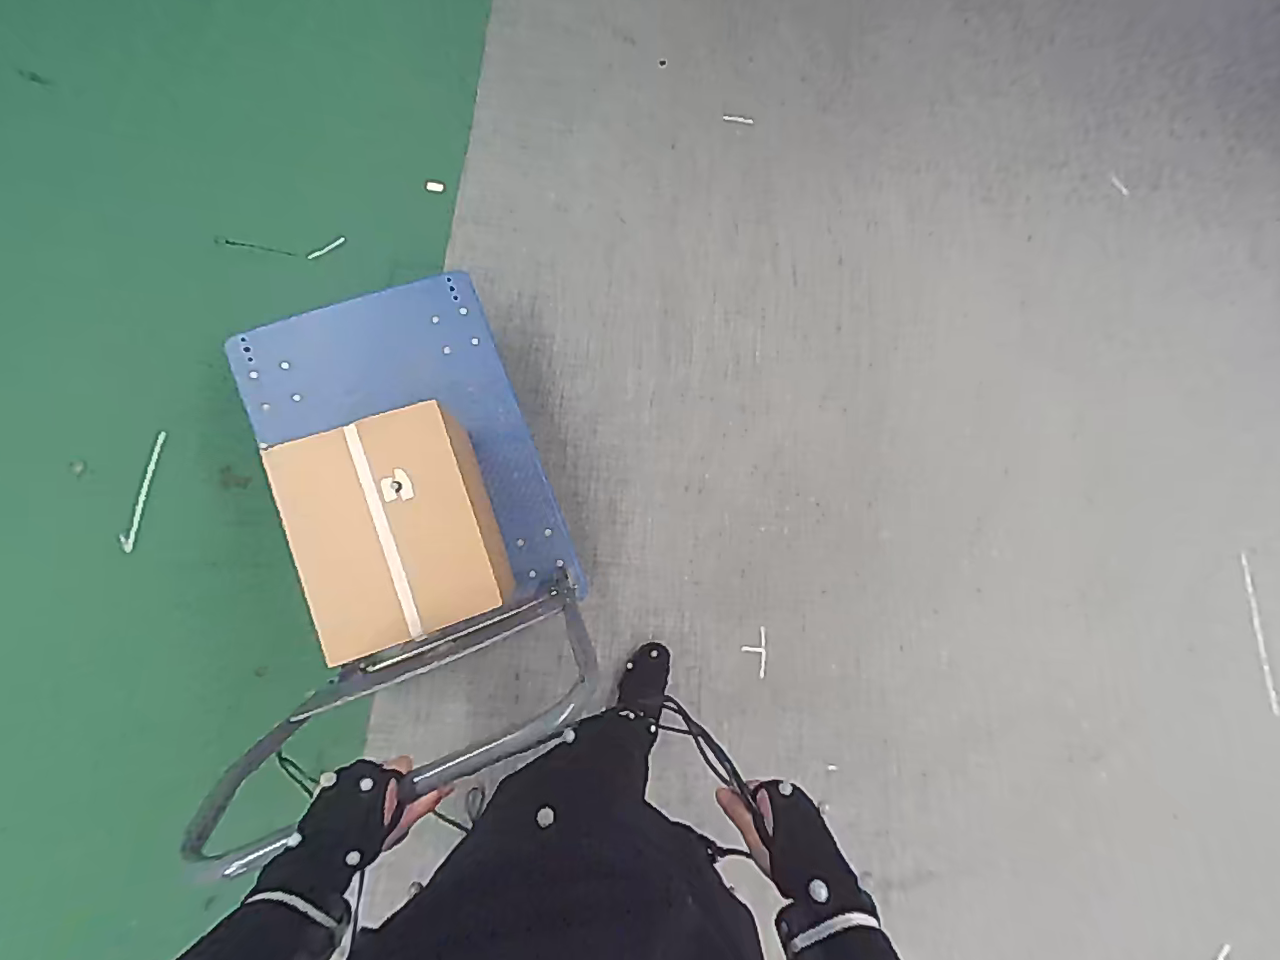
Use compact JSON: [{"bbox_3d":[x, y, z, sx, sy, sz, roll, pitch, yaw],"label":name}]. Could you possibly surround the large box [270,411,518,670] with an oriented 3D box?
[{"bbox_3d":[-0.476,0.119,1.127,0.320,0.320,0.408,-18,86,-10],"label":"large box"}]
